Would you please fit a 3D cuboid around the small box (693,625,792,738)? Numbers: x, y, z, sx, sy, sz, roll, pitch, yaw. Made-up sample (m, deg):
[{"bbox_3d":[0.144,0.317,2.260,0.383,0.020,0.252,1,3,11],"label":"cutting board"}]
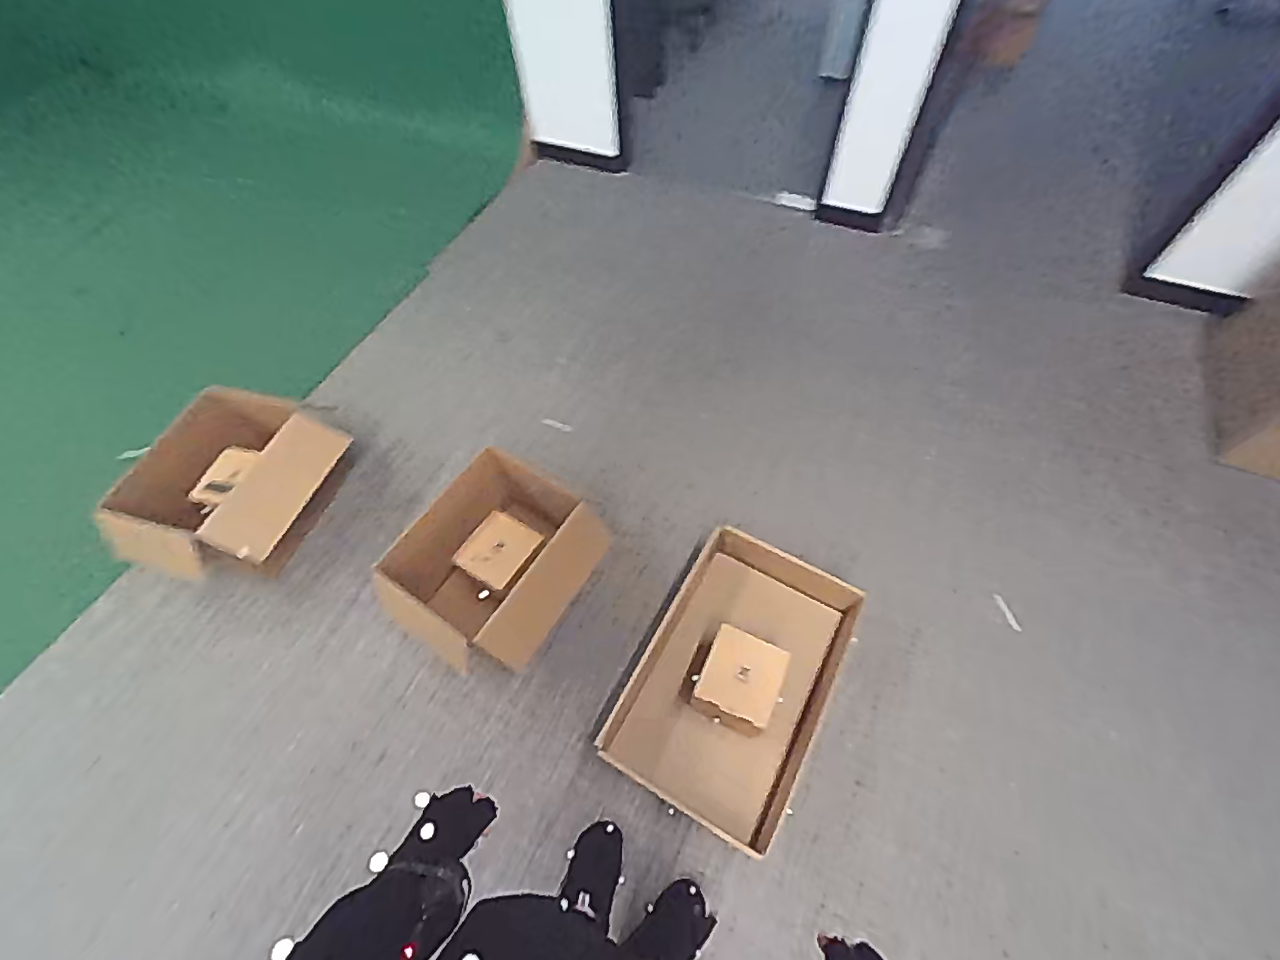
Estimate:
[{"bbox_3d":[0.229,0.467,1.243,0.168,0.176,0.179,22,62,14],"label":"small box"}]
